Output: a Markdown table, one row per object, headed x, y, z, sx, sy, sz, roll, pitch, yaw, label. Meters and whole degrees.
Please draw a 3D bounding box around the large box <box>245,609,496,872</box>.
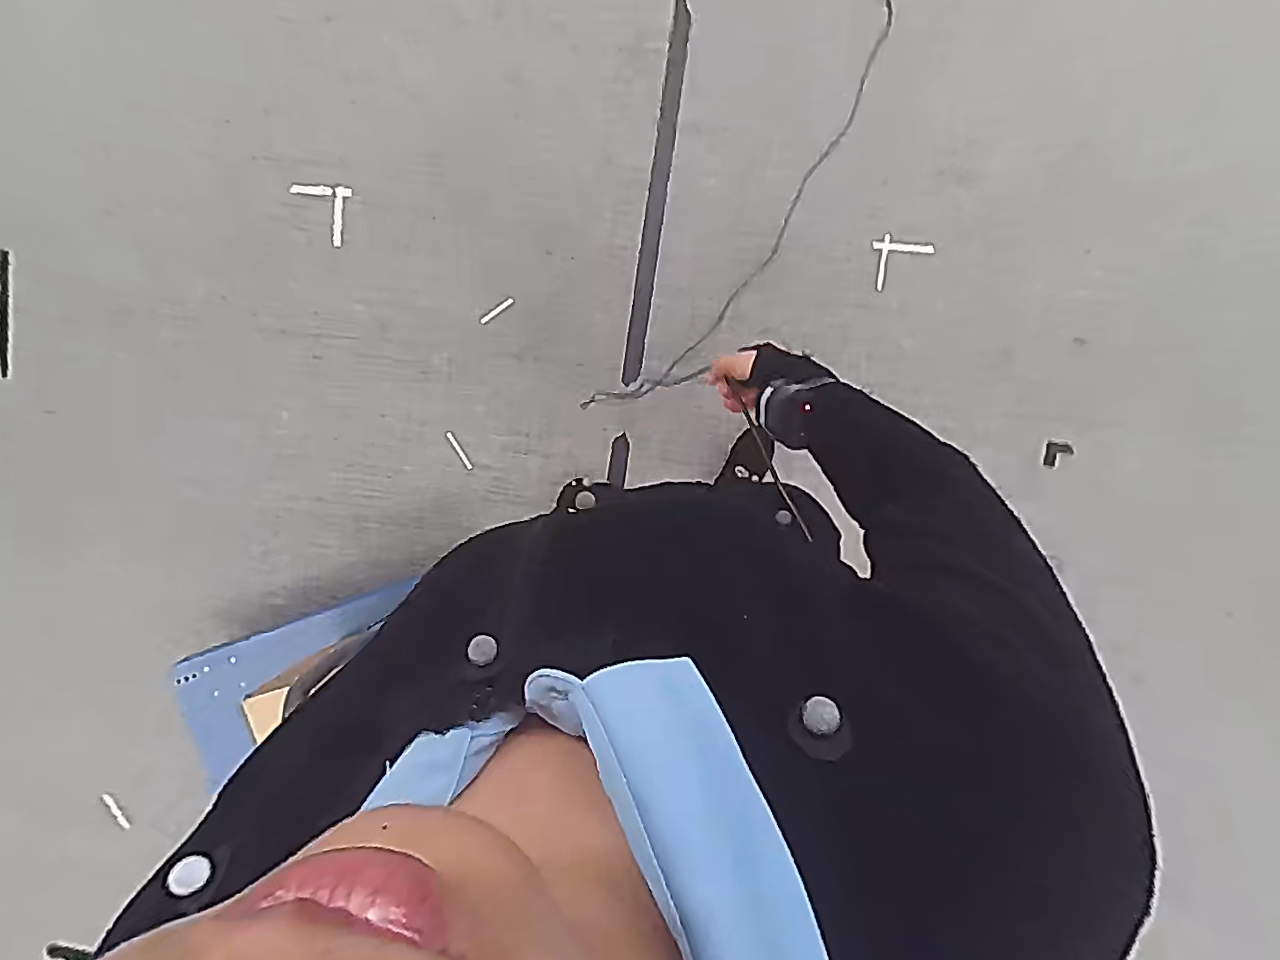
| x | y | z | sx | sy | sz | roll | pitch | yaw | label |
| --- | --- | --- | --- | --- | --- | --- | --- | --- | --- |
| -0.585 | 0.567 | 1.242 | 0.320 | 0.320 | 0.408 | -19 | 92 | 4 | large box |
